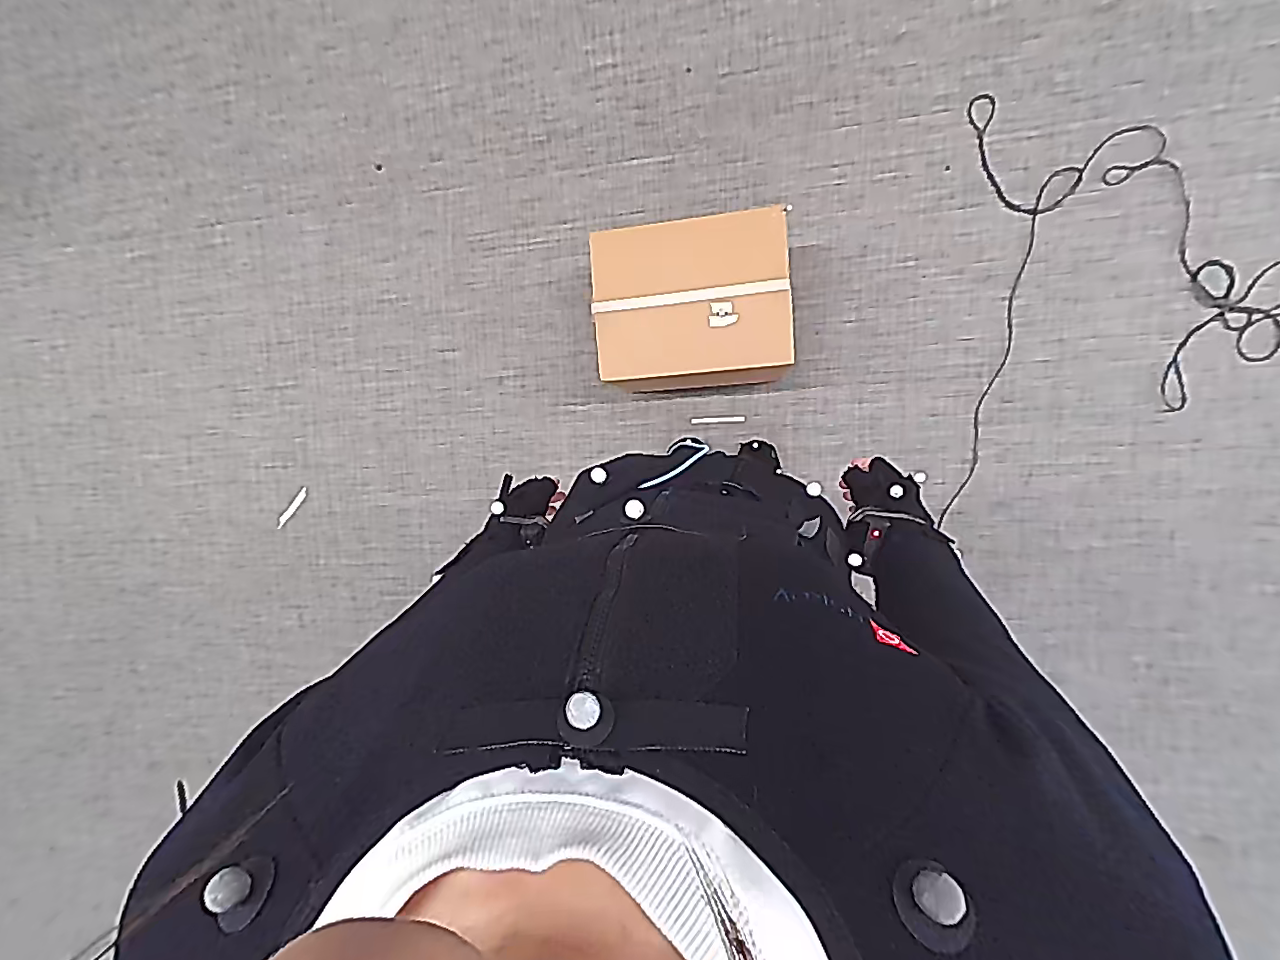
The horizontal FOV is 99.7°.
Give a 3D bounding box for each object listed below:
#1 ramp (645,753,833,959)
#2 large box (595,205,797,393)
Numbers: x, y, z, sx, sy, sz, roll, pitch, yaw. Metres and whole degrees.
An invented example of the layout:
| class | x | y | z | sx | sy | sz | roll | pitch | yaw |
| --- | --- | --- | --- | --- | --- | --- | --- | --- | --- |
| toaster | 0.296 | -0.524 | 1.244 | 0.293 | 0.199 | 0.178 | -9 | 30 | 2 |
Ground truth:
| class | x | y | z | sx | sy | sz | roll | pitch | yaw |
| --- | --- | --- | --- | --- | --- | --- | --- | --- | --- |
| ramp | 0.252 | 1.264 | 1.426 | 0.509 | 0.206 | 0.991 | -1 | 94 | 12 |
| large box | 0.135 | -0.389 | 1.260 | 0.408 | 0.320 | 0.320 | -4 | 94 | 10 |
